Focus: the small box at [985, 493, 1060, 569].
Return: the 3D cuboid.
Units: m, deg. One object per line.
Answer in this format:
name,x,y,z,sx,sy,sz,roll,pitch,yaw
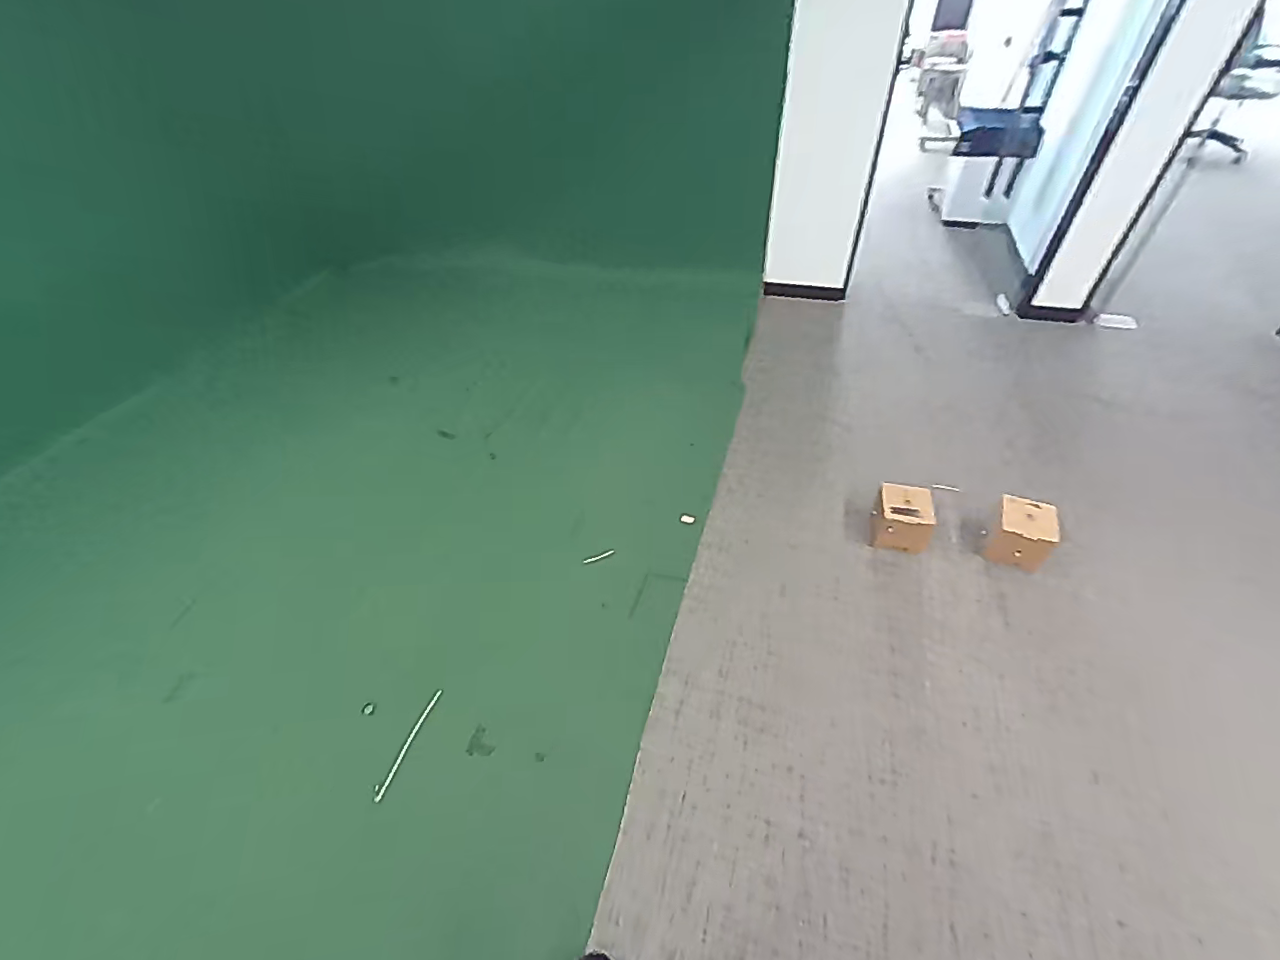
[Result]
small box,1.320,0.181,1.874,0.168,0.176,0.179,17,51,18
